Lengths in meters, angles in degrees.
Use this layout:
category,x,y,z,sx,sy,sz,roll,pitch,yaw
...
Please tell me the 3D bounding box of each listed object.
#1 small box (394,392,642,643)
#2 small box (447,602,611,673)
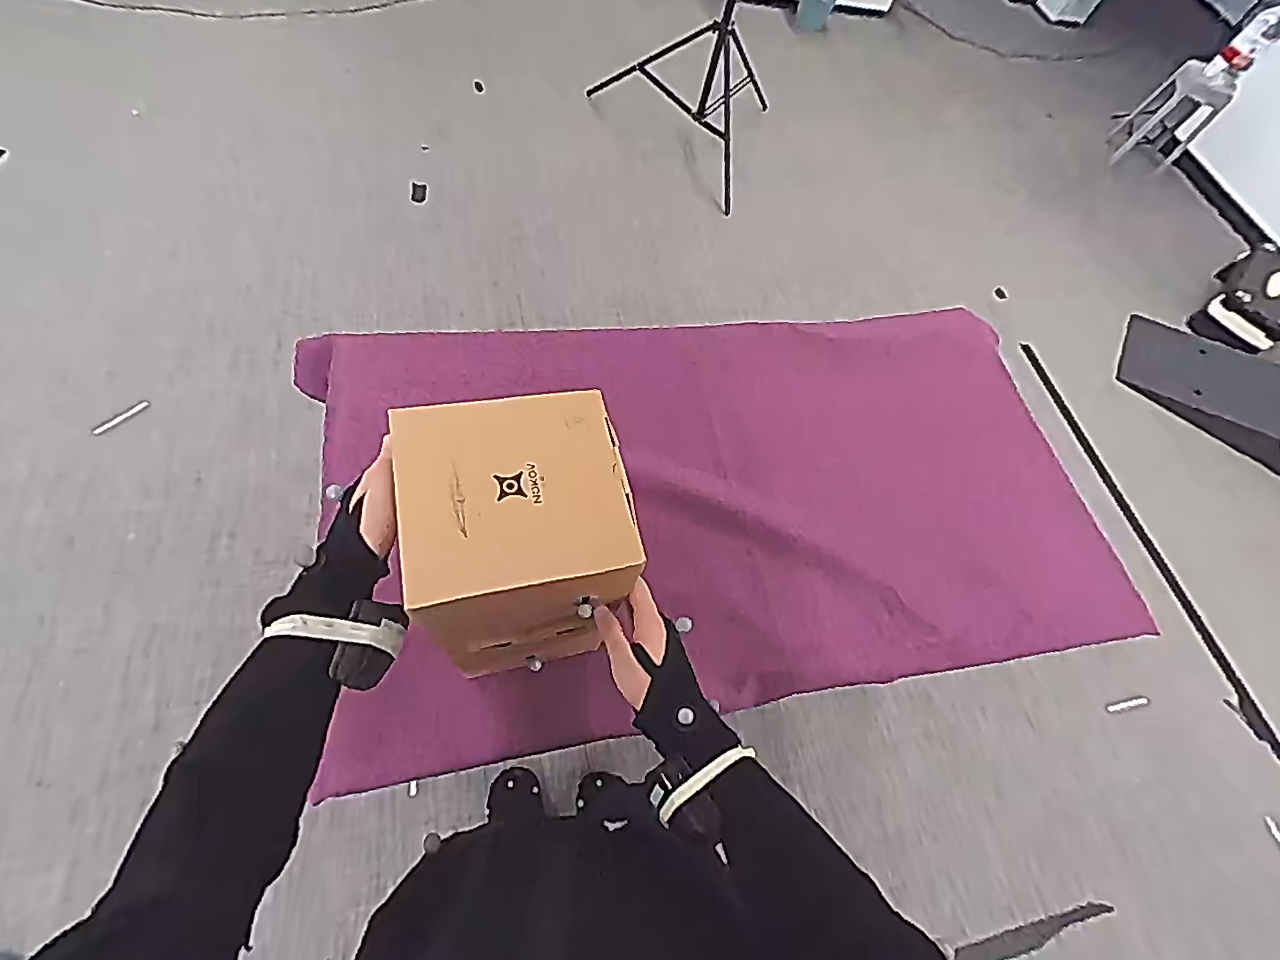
category,x,y,z,sx,sy,sz,roll,pitch,yaw
small box,-0.114,0.039,0.499,0.179,0.176,0.168,-9,65,-16
small box,-0.141,0.114,0.642,0.168,0.176,0.179,-8,65,-15
